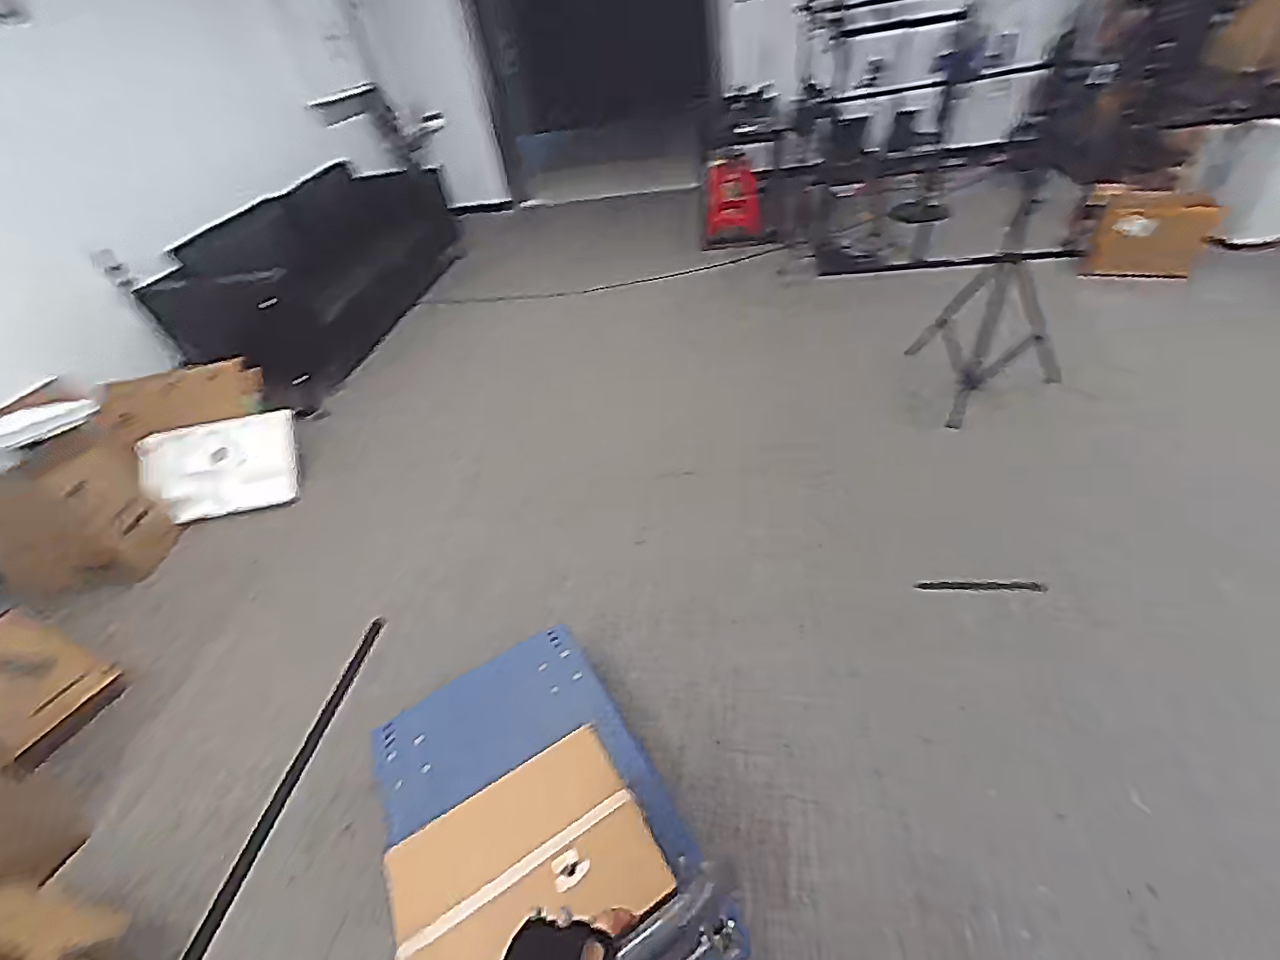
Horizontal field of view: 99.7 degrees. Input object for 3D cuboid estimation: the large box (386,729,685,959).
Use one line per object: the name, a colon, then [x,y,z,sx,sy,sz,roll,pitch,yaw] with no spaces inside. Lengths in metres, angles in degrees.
large box: [-0.172,0.757,0.979,0.408,0.320,0.320,-27,44,-20]
